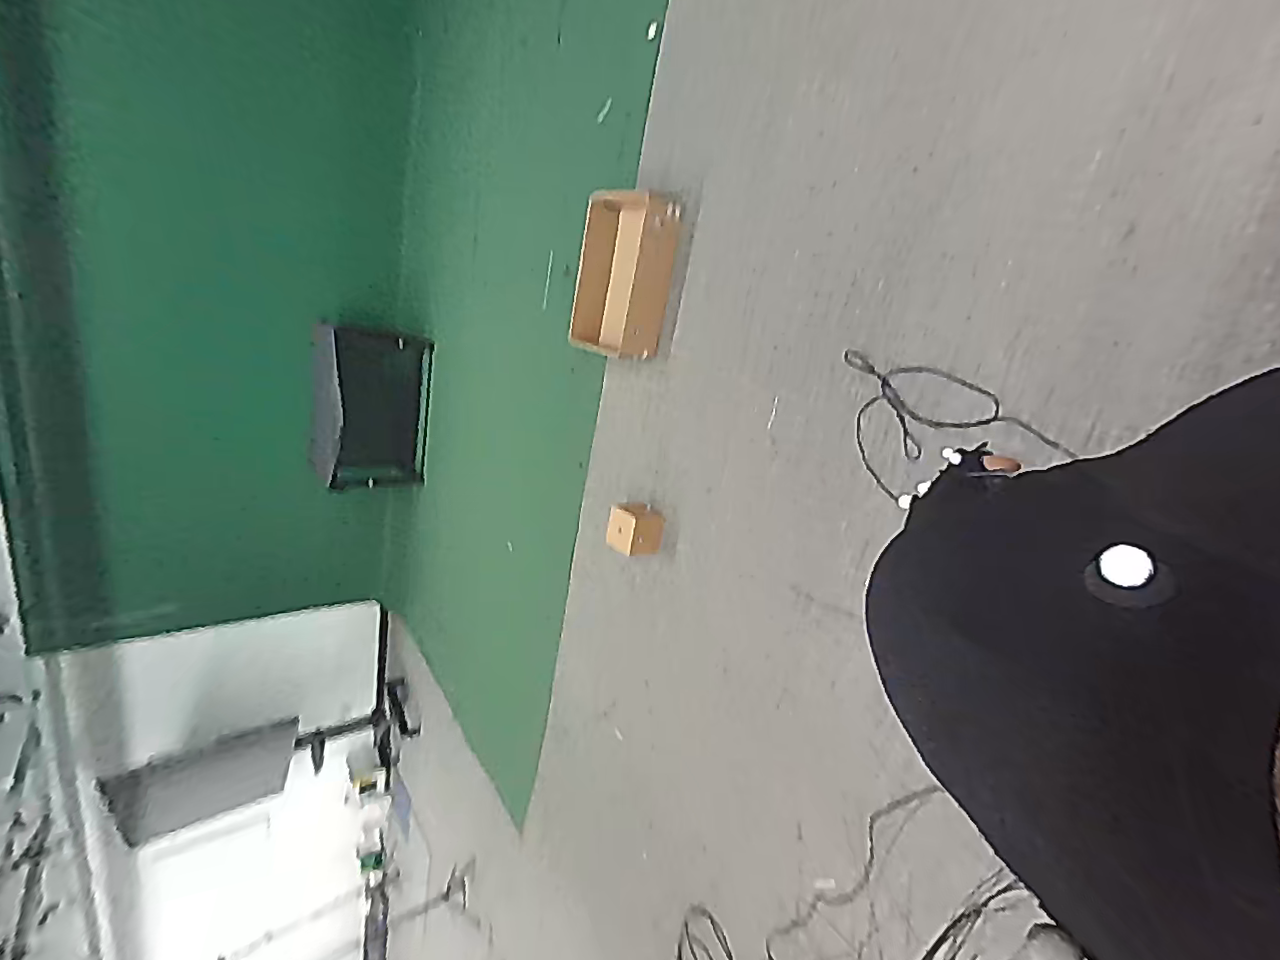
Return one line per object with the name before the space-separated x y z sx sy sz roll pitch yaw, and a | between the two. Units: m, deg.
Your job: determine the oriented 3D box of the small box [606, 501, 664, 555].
small box | -0.018 0.199 2.301 0.168 0.176 0.179 26 111 45
